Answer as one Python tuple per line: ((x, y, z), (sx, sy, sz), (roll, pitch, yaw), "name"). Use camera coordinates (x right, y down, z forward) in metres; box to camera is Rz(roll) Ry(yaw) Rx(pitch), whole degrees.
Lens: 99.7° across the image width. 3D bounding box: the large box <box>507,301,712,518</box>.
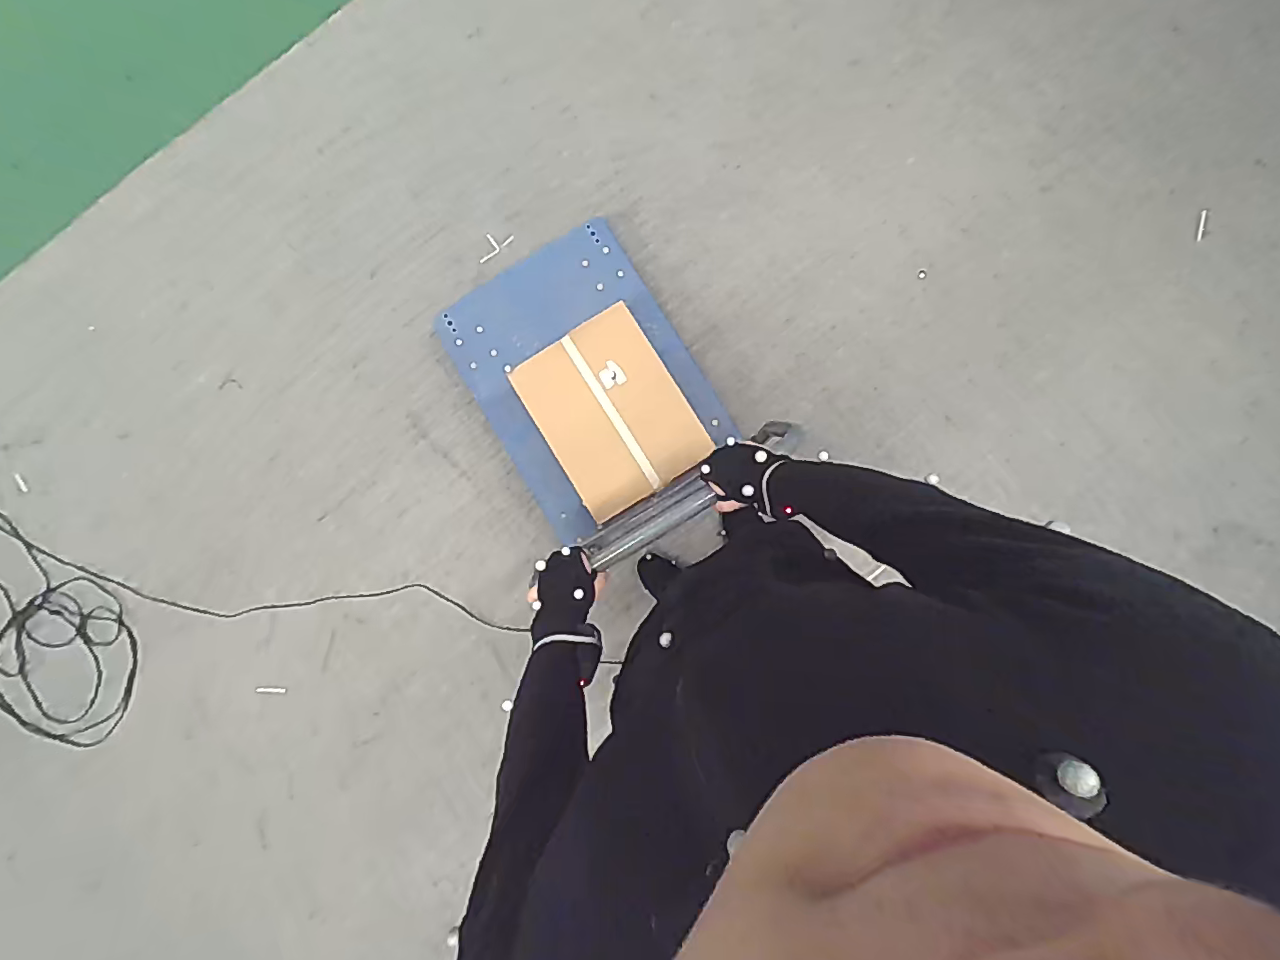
((-0.060, -0.153, 1.355), (0.320, 0.320, 0.408), (-32, 85, 1), "large box")
